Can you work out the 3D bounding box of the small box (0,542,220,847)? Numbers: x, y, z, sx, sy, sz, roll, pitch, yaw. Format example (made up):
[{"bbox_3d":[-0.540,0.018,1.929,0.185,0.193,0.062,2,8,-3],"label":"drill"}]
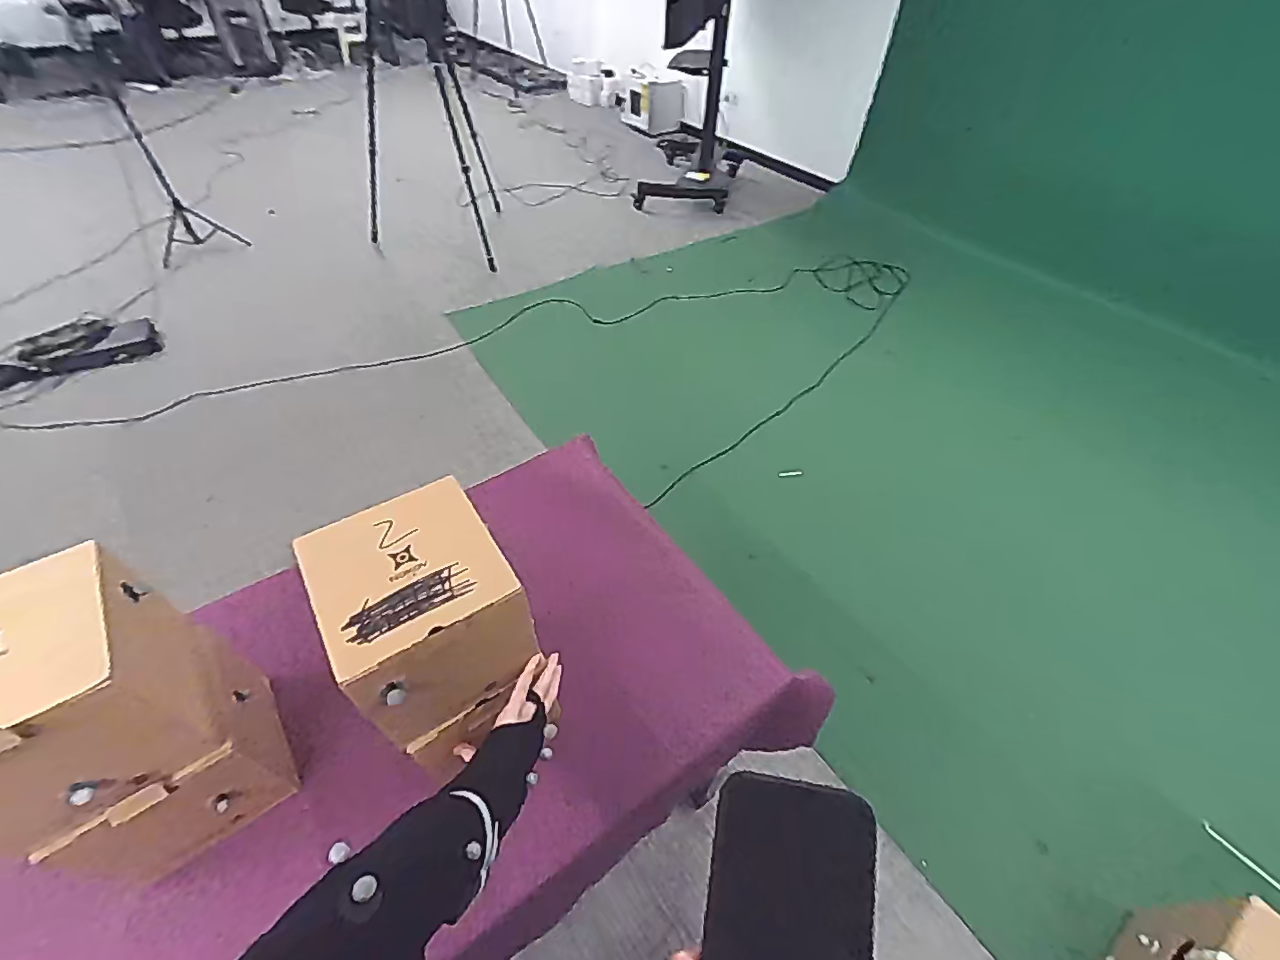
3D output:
[{"bbox_3d":[-0.538,0.198,0.505,0.168,0.176,0.179,-28,54,-25],"label":"small box"}]

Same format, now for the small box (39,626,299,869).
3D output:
[{"bbox_3d":[-0.529,0.311,0.626,0.168,0.176,0.179,-27,54,-25],"label":"small box"}]

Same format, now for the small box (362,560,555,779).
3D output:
[{"bbox_3d":[-0.225,0.244,0.697,0.168,0.176,0.179,-28,55,-24],"label":"small box"}]
